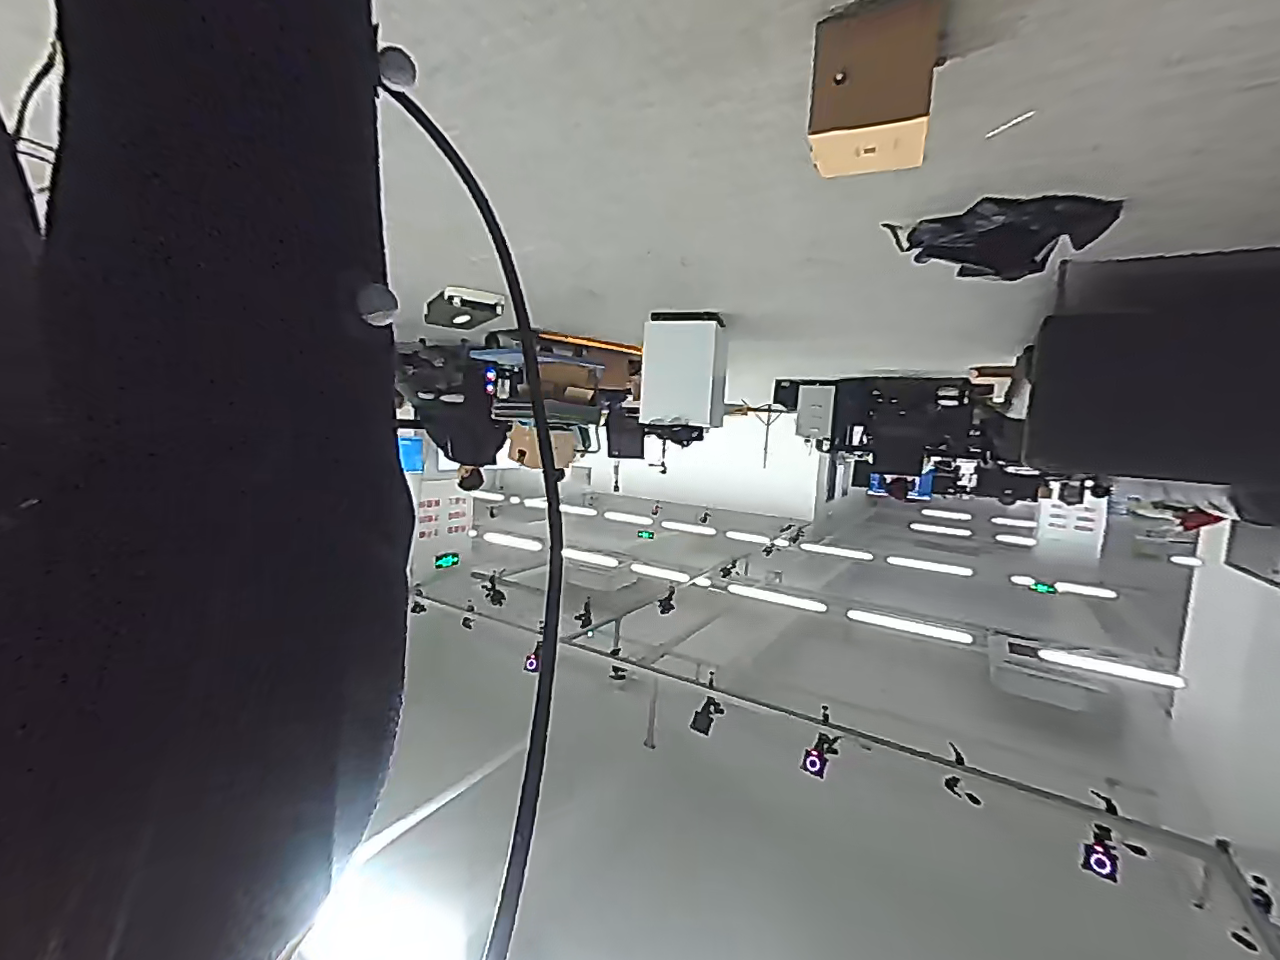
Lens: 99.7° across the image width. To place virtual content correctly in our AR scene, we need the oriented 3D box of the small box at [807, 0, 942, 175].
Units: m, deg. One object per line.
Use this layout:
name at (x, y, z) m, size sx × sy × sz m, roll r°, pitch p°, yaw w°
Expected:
small box at (0.378, -0.631, 0.883) m, size 0.179 × 0.176 × 0.168 m, roll 5°, pitch -173°, yaw 24°
